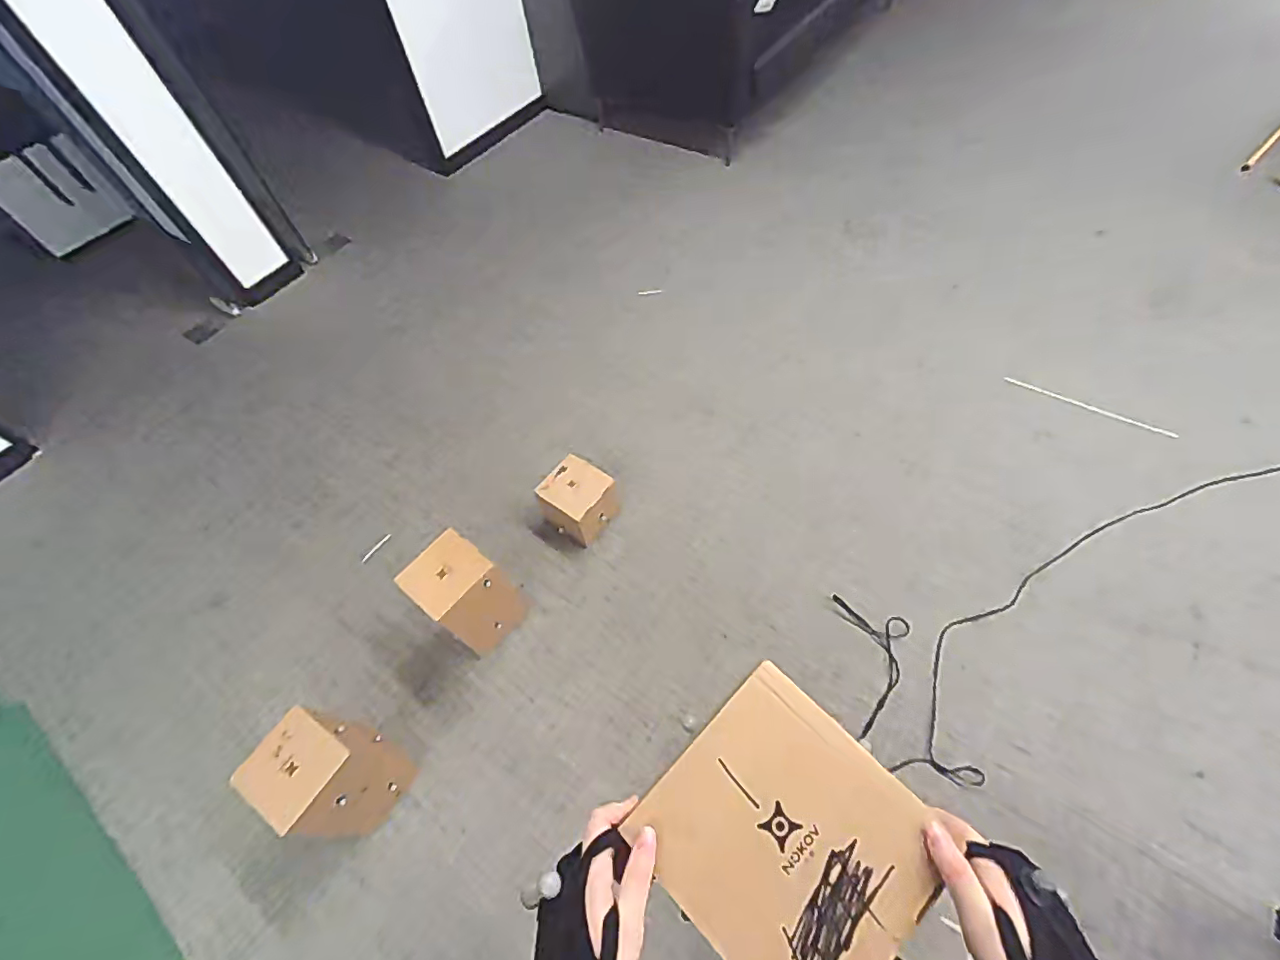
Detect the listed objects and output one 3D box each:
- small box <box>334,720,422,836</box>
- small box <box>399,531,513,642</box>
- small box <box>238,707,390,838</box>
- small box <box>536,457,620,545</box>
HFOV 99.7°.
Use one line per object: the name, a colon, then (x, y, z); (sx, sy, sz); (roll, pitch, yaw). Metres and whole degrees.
small box: (-0.649, 0.694, 1.263); (0.179, 0.176, 0.168); (27, 63, 22)
small box: (-0.439, 0.266, 1.320); (0.168, 0.176, 0.179); (32, 66, 25)
small box: (-0.664, 0.607, 1.124); (0.179, 0.176, 0.168); (26, 62, 22)
small box: (-0.177, 0.071, 1.612); (0.179, 0.176, 0.168); (31, 65, 23)
